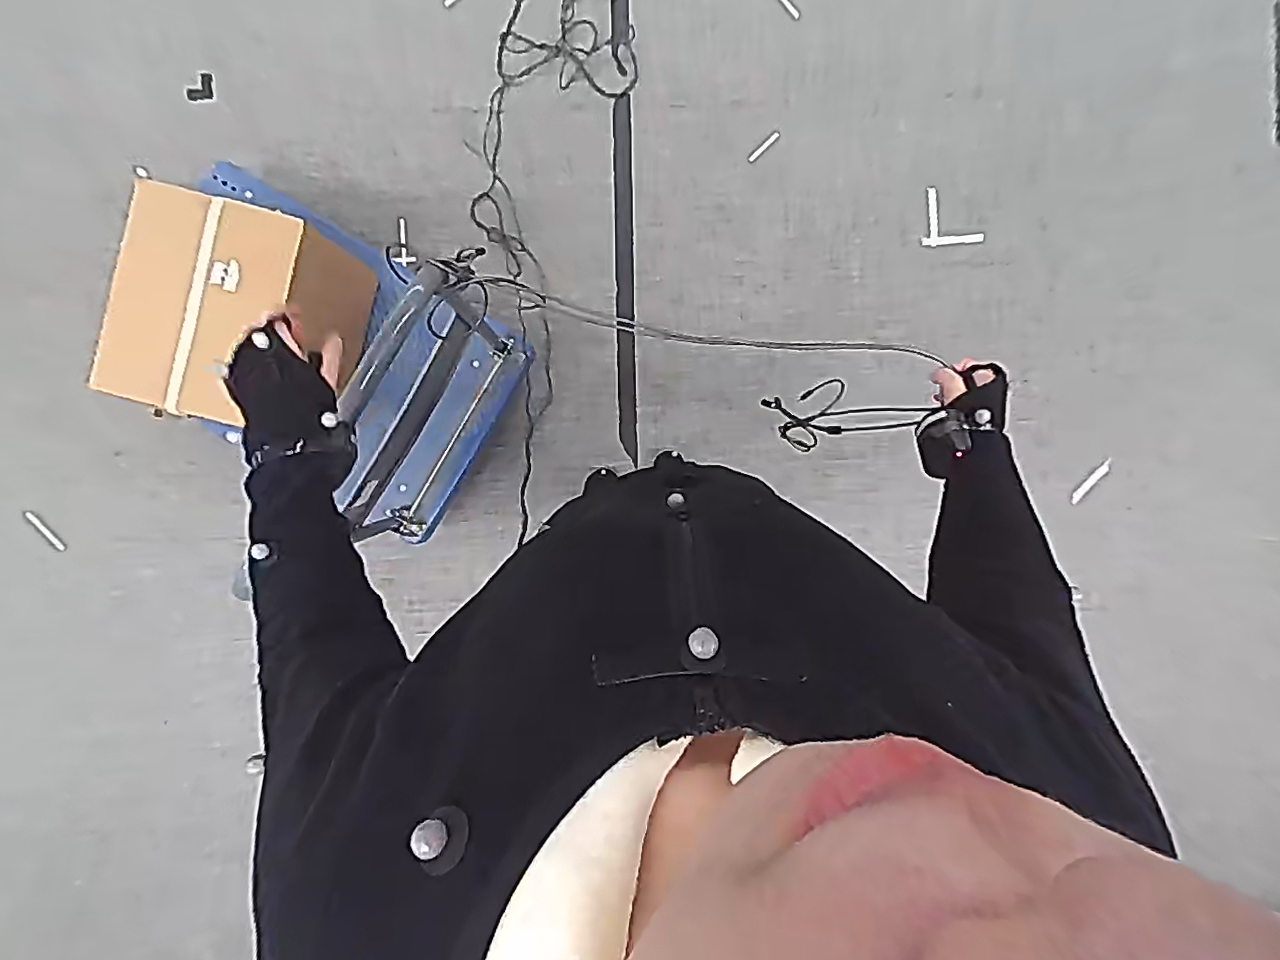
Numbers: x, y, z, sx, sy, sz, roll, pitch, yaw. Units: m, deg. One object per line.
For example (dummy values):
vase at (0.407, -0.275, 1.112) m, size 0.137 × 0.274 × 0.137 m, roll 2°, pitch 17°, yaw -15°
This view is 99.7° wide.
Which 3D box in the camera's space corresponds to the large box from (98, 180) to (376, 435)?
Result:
large box at (-0.818, -0.328, 1.150) m, size 0.320 × 0.320 × 0.408 m, roll 14°, pitch 91°, yaw -3°
